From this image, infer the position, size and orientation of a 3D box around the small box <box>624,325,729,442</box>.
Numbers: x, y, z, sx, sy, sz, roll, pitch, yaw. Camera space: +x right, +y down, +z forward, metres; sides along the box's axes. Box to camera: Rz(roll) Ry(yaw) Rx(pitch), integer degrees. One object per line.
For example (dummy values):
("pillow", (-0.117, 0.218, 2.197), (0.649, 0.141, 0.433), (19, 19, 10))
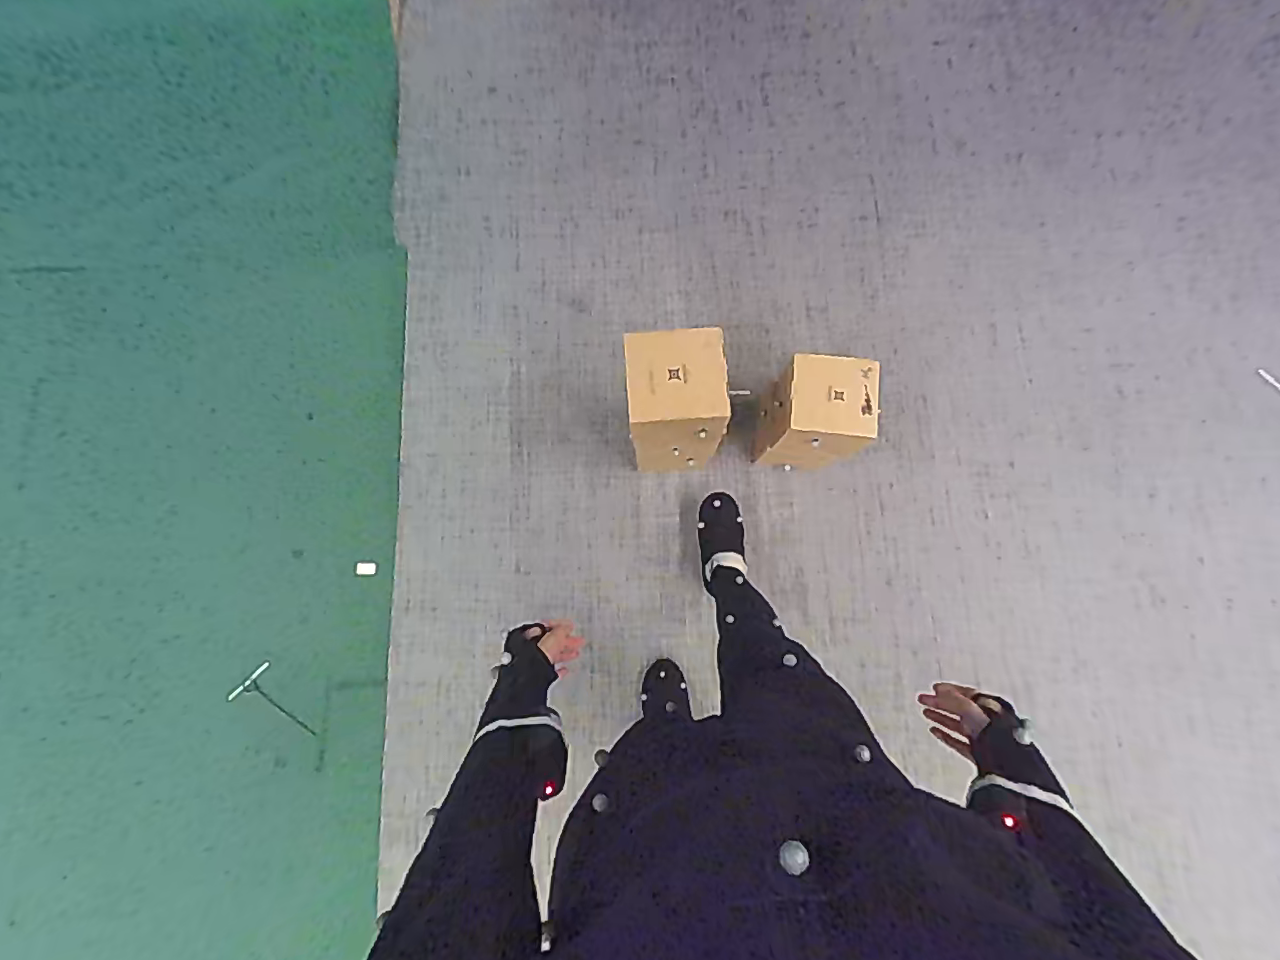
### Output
("small box", (0.064, -0.173, 1.013), (0.179, 0.176, 0.168), (-4, 79, 2))

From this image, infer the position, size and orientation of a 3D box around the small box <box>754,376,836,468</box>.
("small box", (0.380, -0.138, 1.333), (0.168, 0.176, 0.179), (6, 80, 3))

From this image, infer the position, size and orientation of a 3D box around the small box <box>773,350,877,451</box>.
("small box", (0.392, -0.165, 1.170), (0.179, 0.176, 0.168), (6, 80, 4))
